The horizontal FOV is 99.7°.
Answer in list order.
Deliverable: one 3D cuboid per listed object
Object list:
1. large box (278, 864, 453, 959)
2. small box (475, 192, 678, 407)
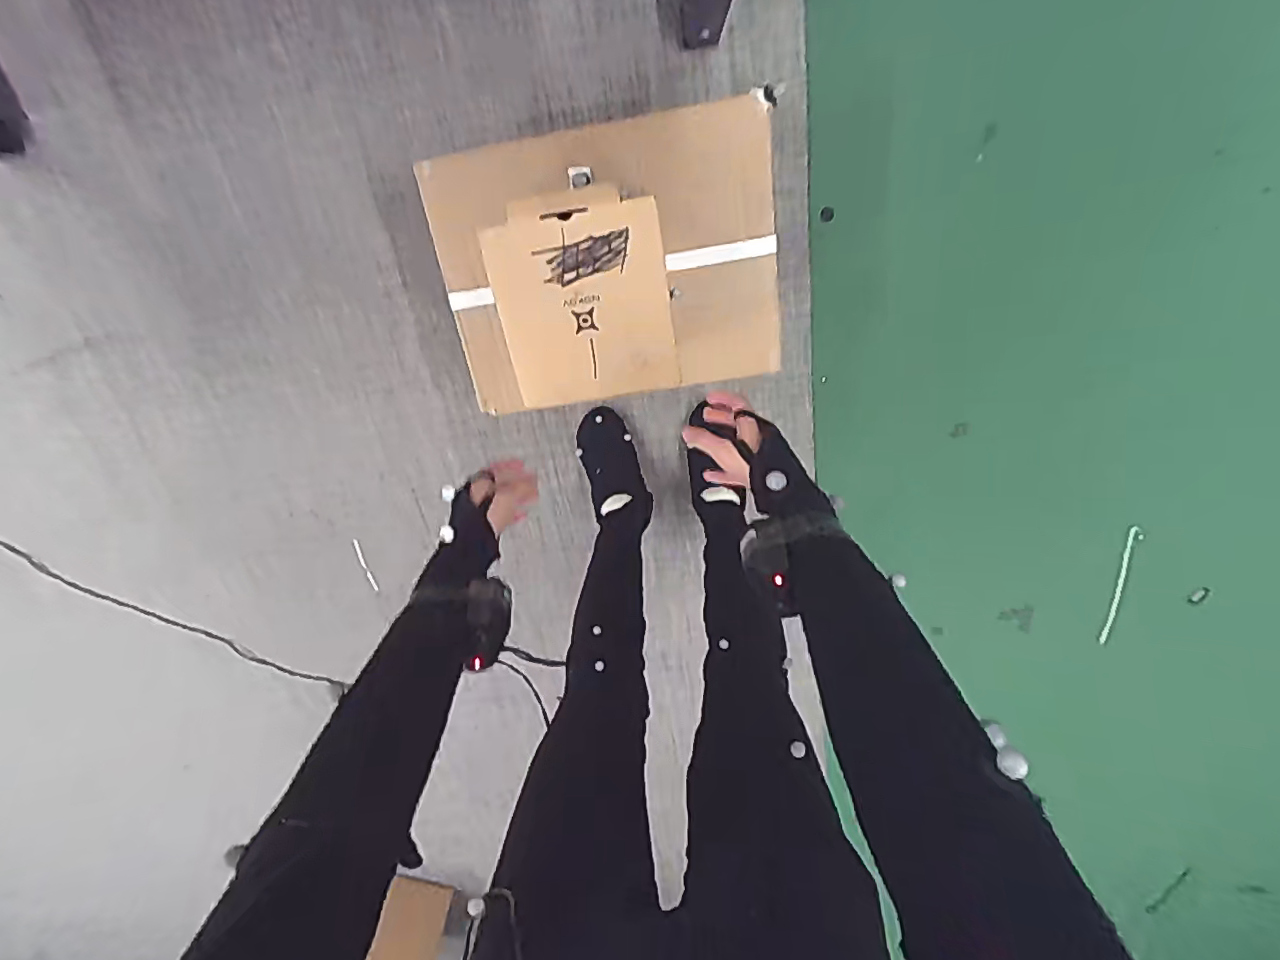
[{"bbox_3d":[-0.827,1.430,1.610,0.408,0.320,0.320,20,113,-6],"label":"large box"},{"bbox_3d":[-0.055,-0.197,0.582,0.168,0.176,0.179,-8,116,5],"label":"small box"}]
